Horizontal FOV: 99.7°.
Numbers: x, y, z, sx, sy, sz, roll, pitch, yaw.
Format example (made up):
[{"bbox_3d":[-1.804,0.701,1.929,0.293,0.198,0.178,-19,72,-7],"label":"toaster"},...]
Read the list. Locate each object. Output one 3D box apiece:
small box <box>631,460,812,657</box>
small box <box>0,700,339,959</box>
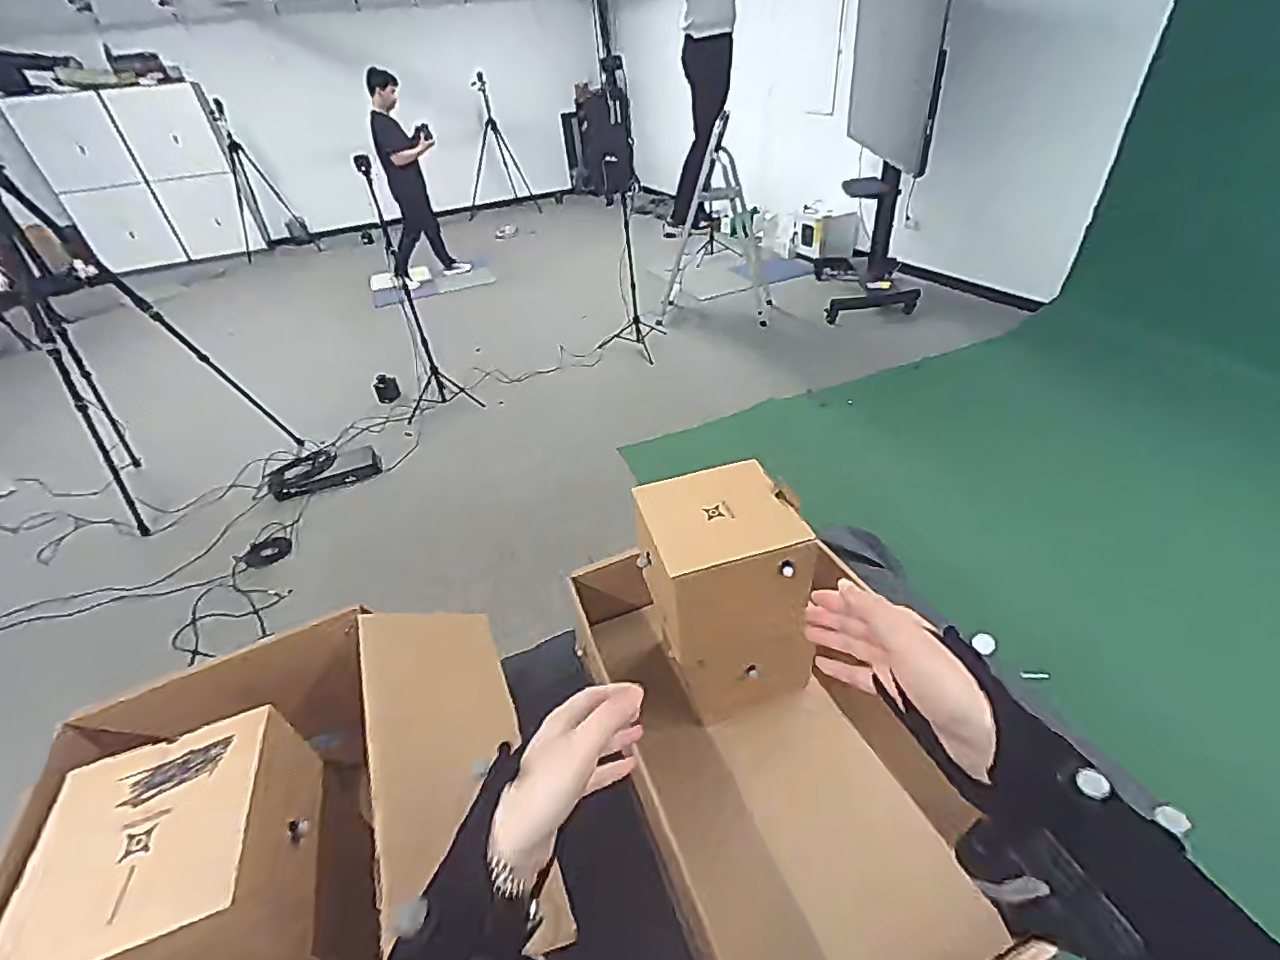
[{"bbox_3d":[0.099,0.102,0.703,0.179,0.176,0.168,-13,39,-10],"label":"small box"},{"bbox_3d":[-0.397,0.345,0.496,0.168,0.176,0.179,-16,41,-14],"label":"small box"}]
